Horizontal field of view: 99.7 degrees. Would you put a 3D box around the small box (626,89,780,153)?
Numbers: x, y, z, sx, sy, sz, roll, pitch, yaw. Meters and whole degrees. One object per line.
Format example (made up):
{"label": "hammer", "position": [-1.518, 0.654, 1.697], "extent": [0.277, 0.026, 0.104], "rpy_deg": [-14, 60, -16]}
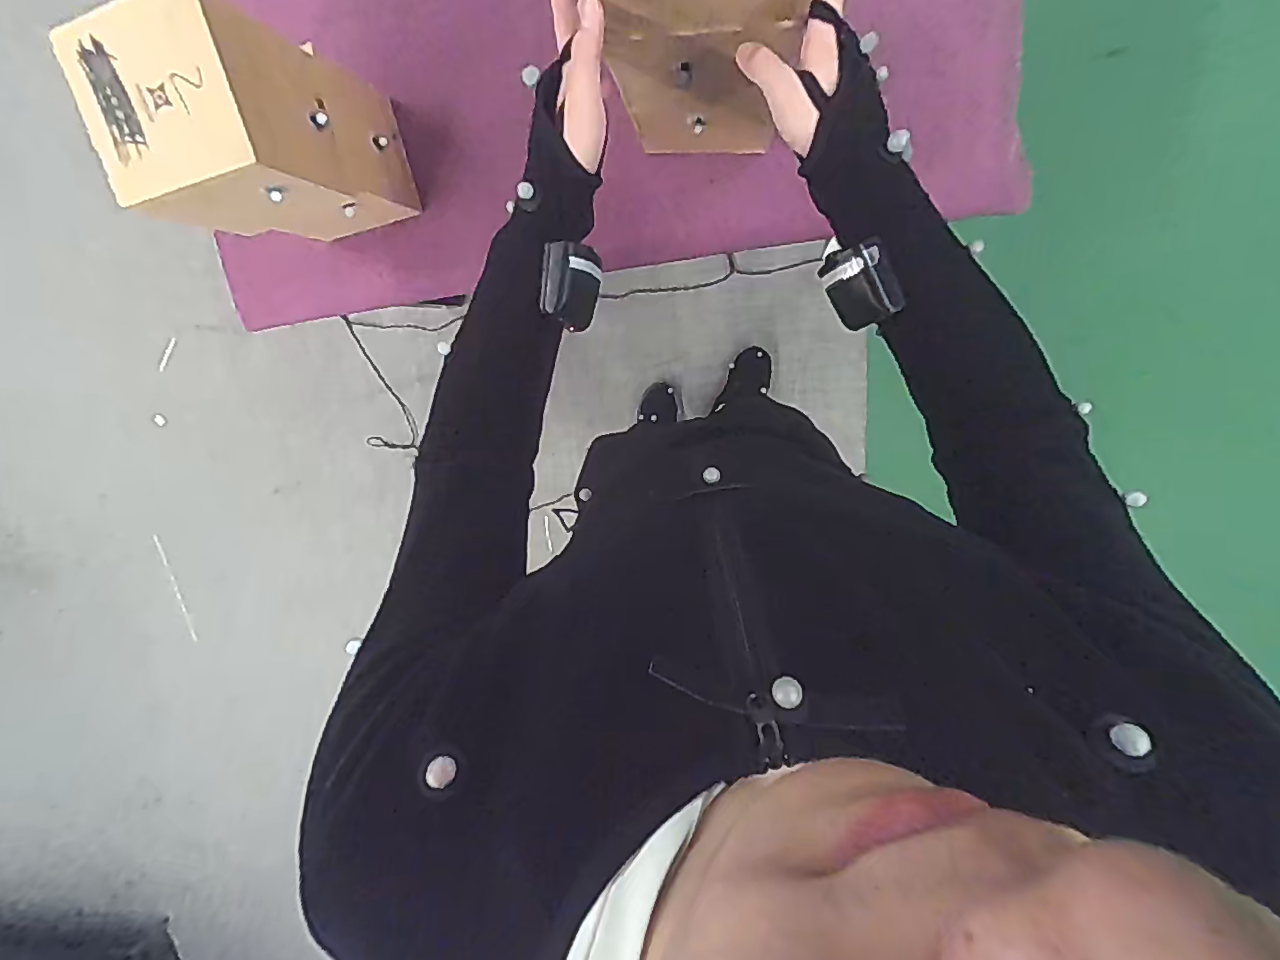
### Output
{"label": "small box", "position": [0.086, -0.518, 0.663], "extent": [0.179, 0.176, 0.168], "rpy_deg": [6, 107, 6]}

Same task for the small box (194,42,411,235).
{"label": "small box", "position": [-0.449, -0.458, 0.756], "extent": [0.179, 0.176, 0.168], "rpy_deg": [-9, 104, 11]}

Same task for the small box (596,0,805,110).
{"label": "small box", "position": [0.063, -0.472, 0.508], "extent": [0.179, 0.176, 0.168], "rpy_deg": [3, 107, 9]}

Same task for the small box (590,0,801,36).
{"label": "small box", "position": [0.041, -0.429, 0.350], "extent": [0.179, 0.176, 0.168], "rpy_deg": [2, 106, 9]}
